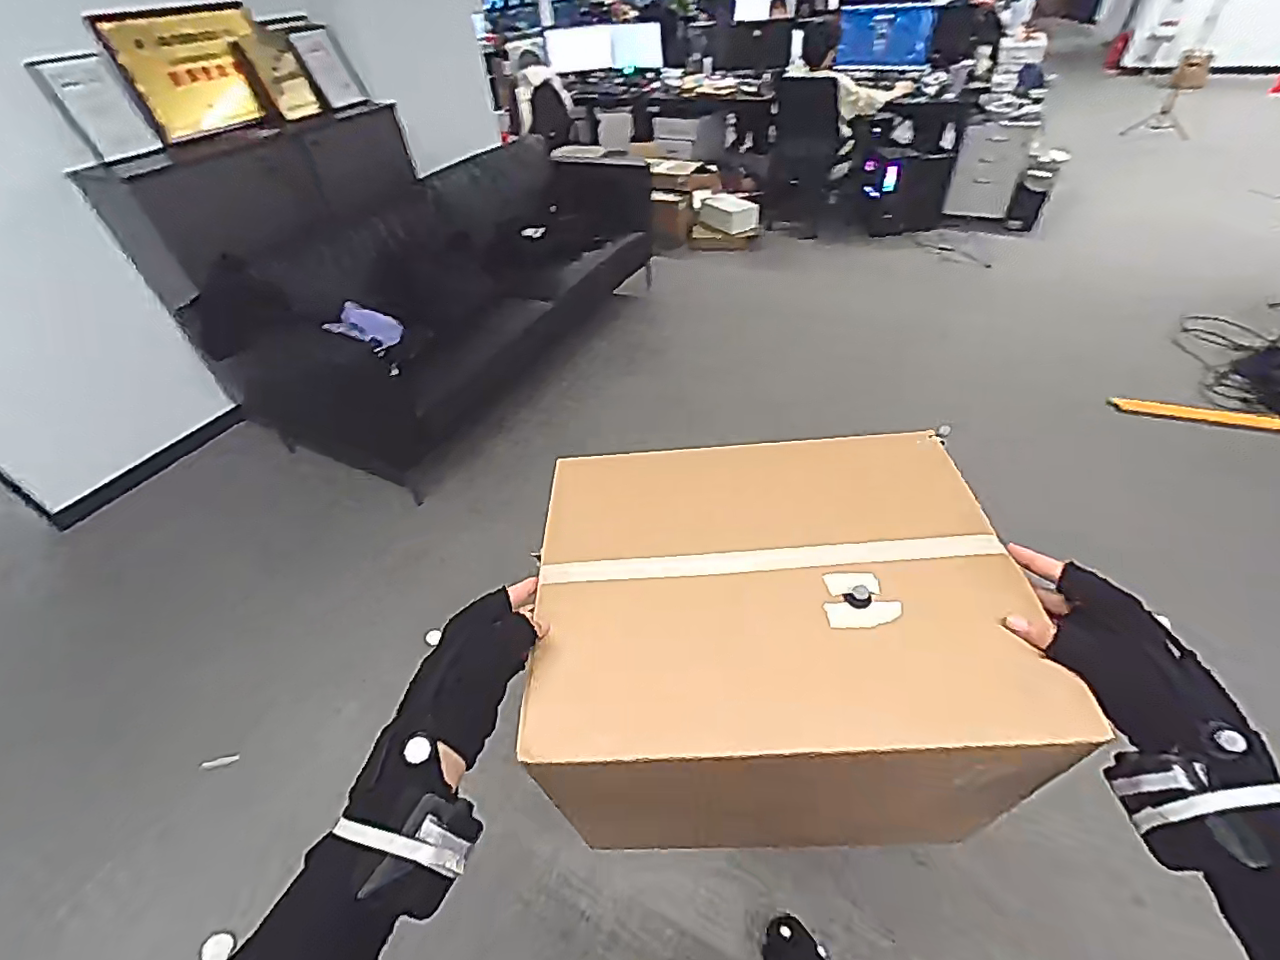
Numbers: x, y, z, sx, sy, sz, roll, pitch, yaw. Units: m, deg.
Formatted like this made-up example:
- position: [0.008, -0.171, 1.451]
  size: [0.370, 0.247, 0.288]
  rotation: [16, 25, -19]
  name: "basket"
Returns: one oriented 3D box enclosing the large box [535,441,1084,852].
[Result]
- position: [0.125, 0.185, 0.595]
  size: [0.408, 0.320, 0.320]
  rotation: [-4, 46, 3]
  name: "large box"
